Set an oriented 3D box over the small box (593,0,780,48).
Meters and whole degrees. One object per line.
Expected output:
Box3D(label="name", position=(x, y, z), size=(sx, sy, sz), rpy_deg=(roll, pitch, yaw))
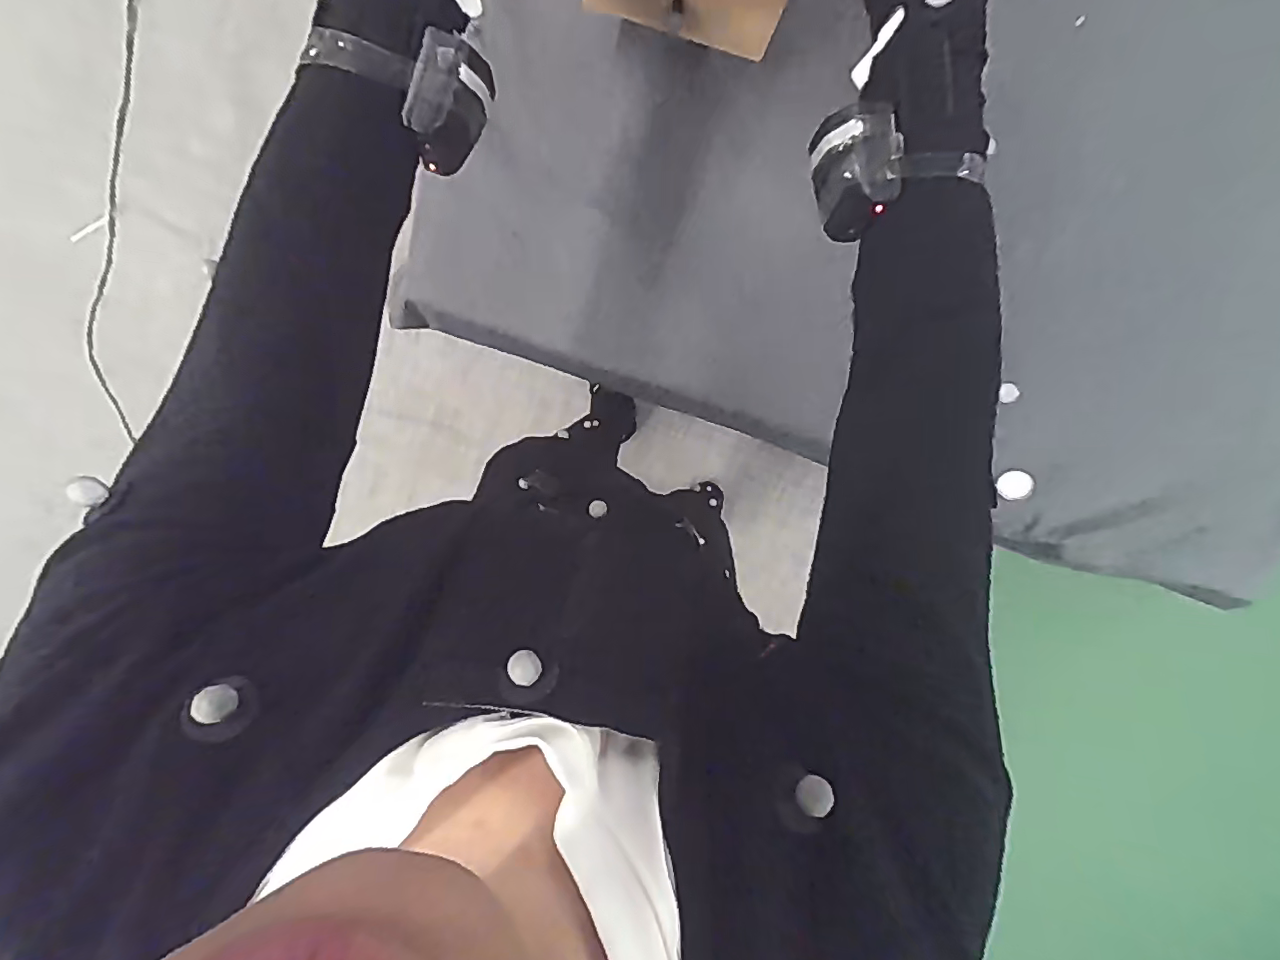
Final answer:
Box3D(label="small box", position=(0.053, -0.479, 0.412), size=(0.179, 0.176, 0.168), rpy_deg=(14, 102, -5))
